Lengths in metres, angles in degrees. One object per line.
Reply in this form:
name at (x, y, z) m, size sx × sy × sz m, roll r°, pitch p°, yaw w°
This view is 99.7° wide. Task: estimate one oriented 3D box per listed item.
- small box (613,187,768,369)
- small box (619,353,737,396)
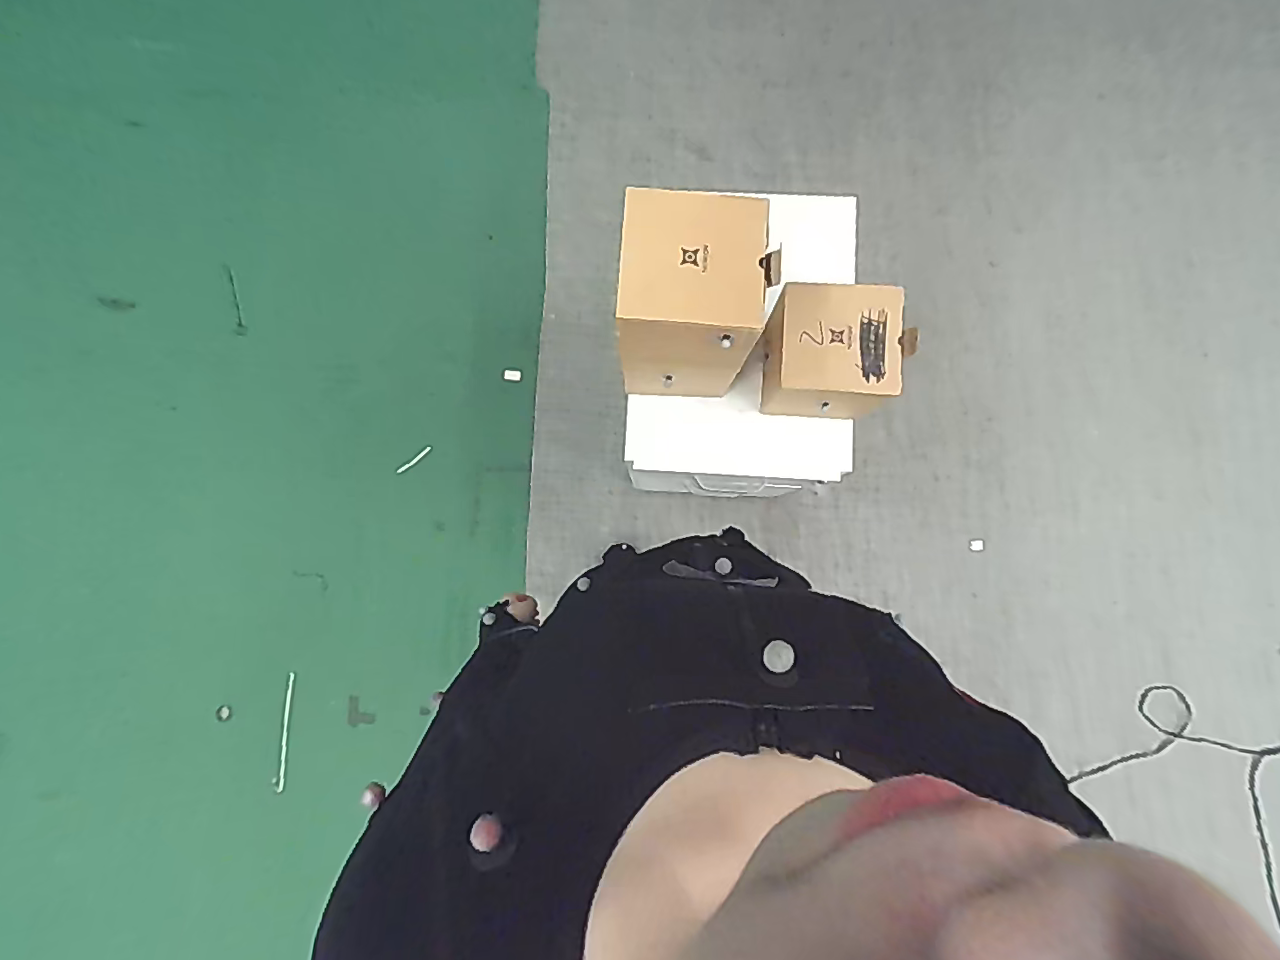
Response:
small box at (0.060, -0.255, 0.716) m, size 0.179 × 0.176 × 0.168 m, roll 4°, pitch 83°, yaw -1°
small box at (0.060, -0.238, 0.879) m, size 0.179 × 0.176 × 0.168 m, roll 2°, pitch 84°, yaw 1°
